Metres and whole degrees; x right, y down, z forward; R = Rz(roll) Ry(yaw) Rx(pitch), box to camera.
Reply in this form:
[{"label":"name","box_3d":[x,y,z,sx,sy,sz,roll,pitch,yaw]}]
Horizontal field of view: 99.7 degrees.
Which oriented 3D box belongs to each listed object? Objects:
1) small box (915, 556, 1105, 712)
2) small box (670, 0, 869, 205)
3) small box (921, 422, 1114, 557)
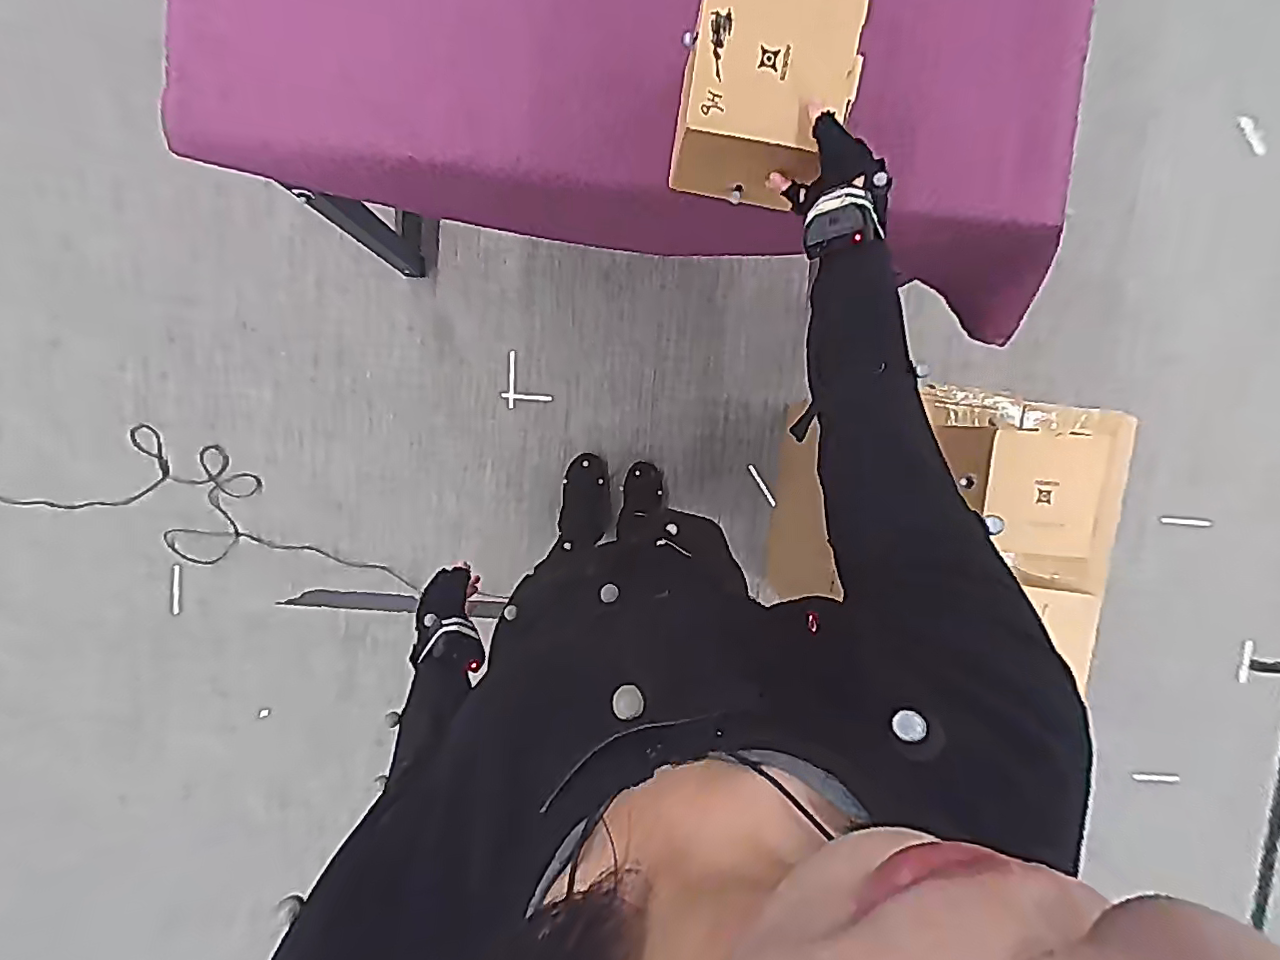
[{"label":"small box","box_3d":[0.557,0.229,0.840,0.168,0.176,0.179,8,93,-3]},{"label":"small box","box_3d":[0.142,-0.457,0.656,0.179,0.176,0.168,8,96,-5]},{"label":"small box","box_3d":[0.557,0.007,0.823,0.168,0.176,0.179,5,96,-1]}]
